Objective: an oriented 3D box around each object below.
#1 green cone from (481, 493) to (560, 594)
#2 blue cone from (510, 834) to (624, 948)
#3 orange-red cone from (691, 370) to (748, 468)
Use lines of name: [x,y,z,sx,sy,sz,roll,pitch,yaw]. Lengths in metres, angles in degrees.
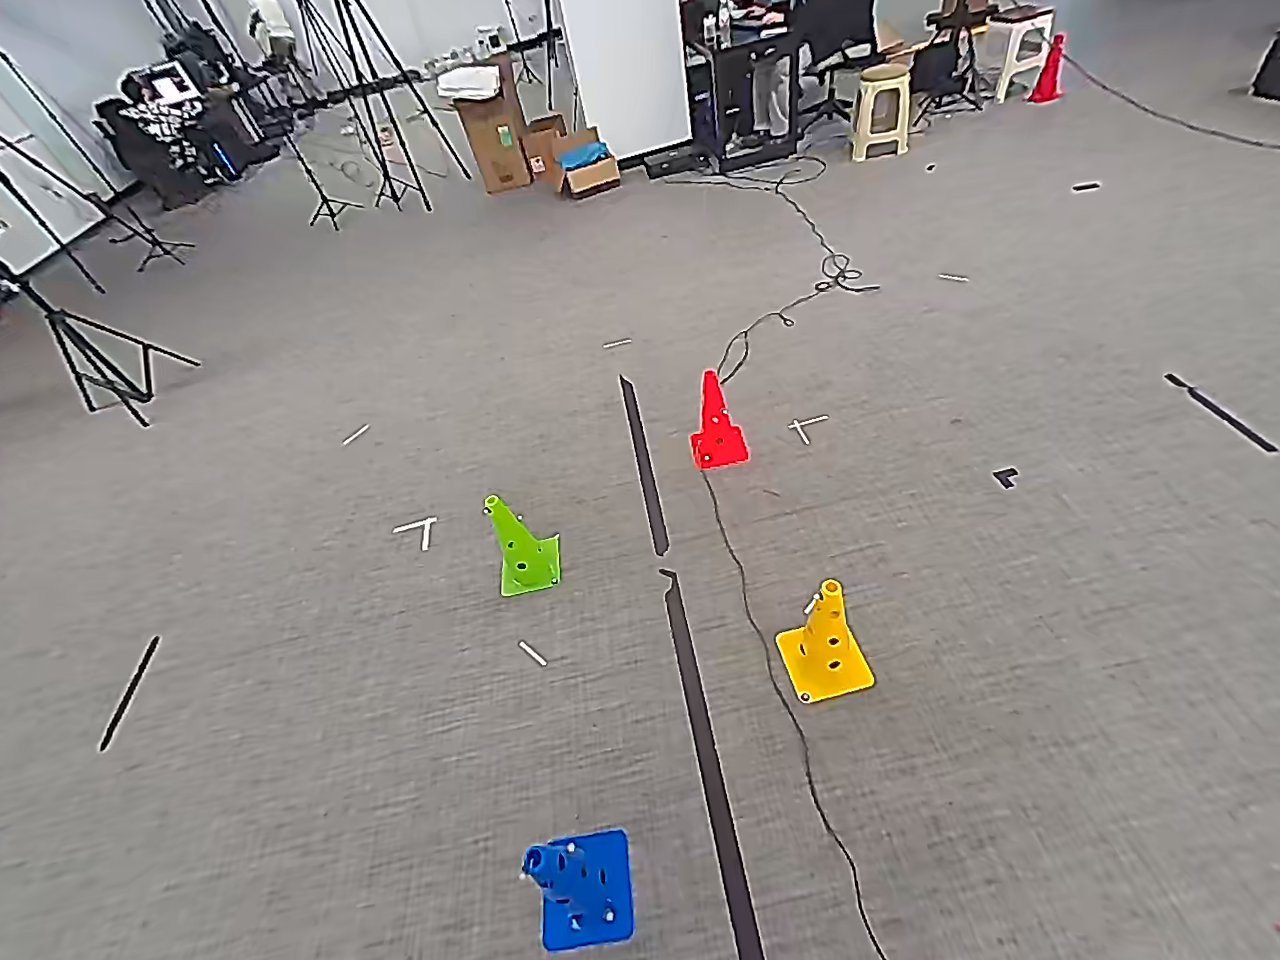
green cone: [-0.405,0.167,1.710,0.202,0.368,0.200,-14,46,3]
blue cone: [-0.164,0.790,1.079,0.192,0.380,0.193,-11,45,5]
orange-red cone: [0.268,-0.240,1.923,0.199,0.360,0.198,-9,47,4]
